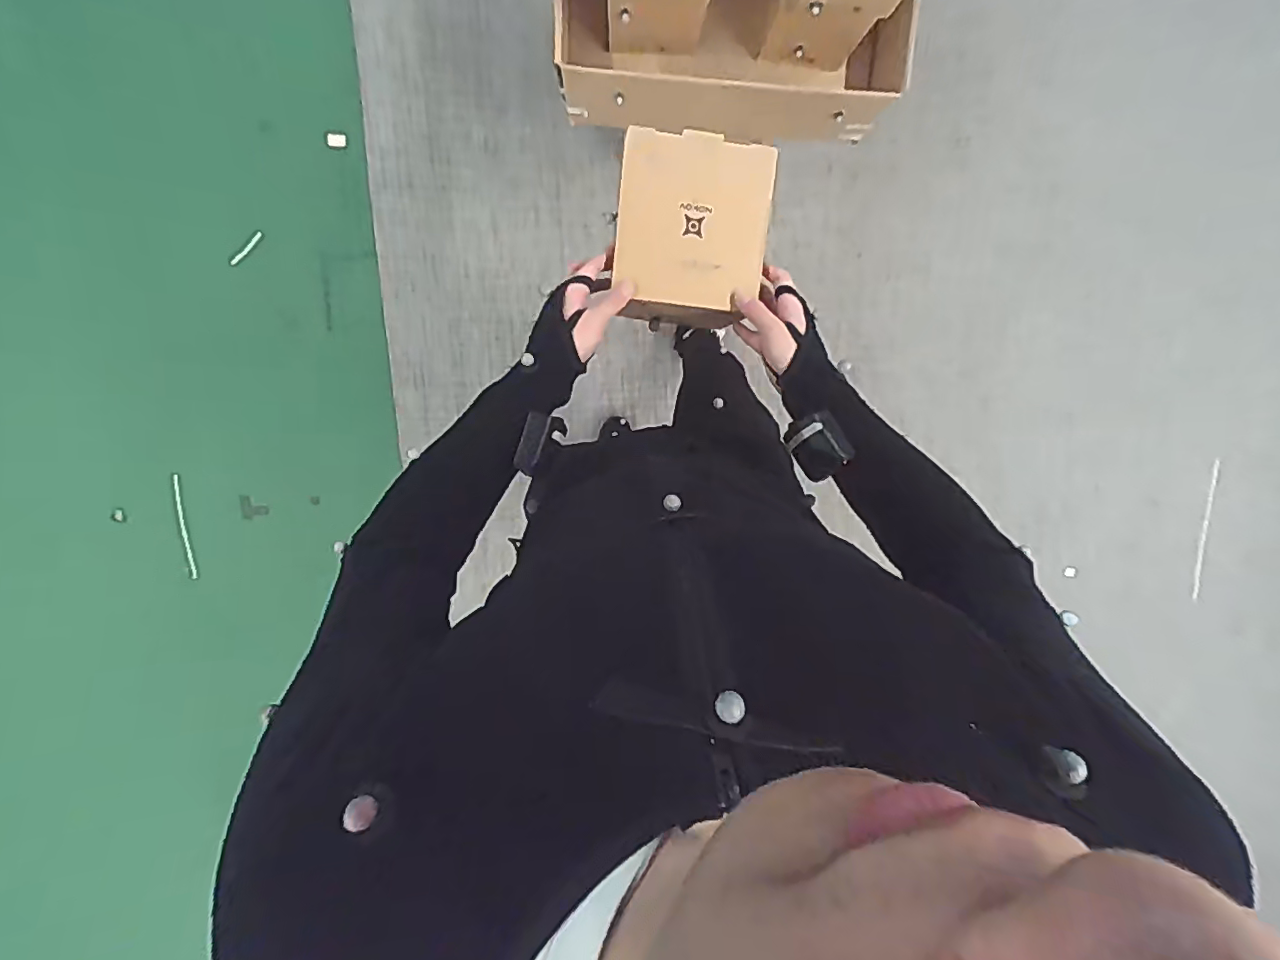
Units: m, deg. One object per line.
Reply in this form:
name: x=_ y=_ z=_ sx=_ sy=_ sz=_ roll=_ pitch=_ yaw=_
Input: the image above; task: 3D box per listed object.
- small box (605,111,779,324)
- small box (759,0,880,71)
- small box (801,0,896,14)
small box: x=0.049 y=-0.297 z=0.652 sx=0.168 sy=0.176 sz=0.179 roll=5 pitch=99 yaw=-7
small box: x=0.316 y=-0.866 z=0.945 sx=0.168 sy=0.176 sz=0.179 roll=4 pitch=102 yaw=-4
small box: x=0.332 y=-0.826 z=0.786 sx=0.168 sy=0.176 sz=0.179 roll=-1 pitch=102 yaw=-3
